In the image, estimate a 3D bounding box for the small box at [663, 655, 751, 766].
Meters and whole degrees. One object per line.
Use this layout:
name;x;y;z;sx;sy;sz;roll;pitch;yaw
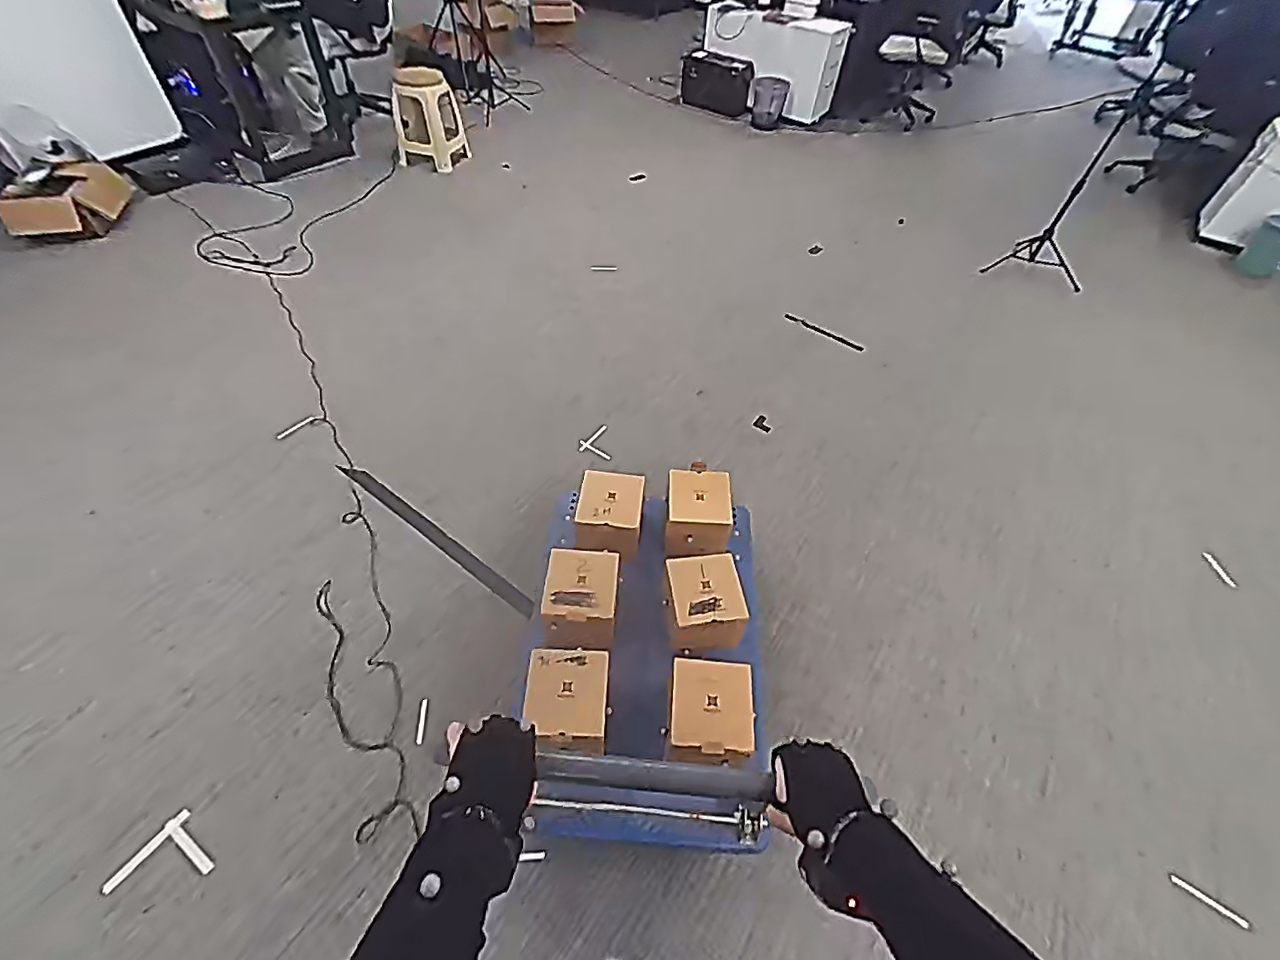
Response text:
small box;0.141;0.501;1.167;0.168;0.176;0.179;6;50;0

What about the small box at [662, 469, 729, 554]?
small box;0.151;0.091;1.503;0.168;0.176;0.179;3;51;-1

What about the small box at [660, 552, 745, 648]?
small box;0.147;0.301;1.329;0.168;0.176;0.179;-4;51;-7

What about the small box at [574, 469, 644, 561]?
small box;-0.083;0.096;1.479;0.168;0.176;0.179;7;51;2

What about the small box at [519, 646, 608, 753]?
small box;-0.157;0.477;1.164;0.168;0.176;0.179;3;51;-2
